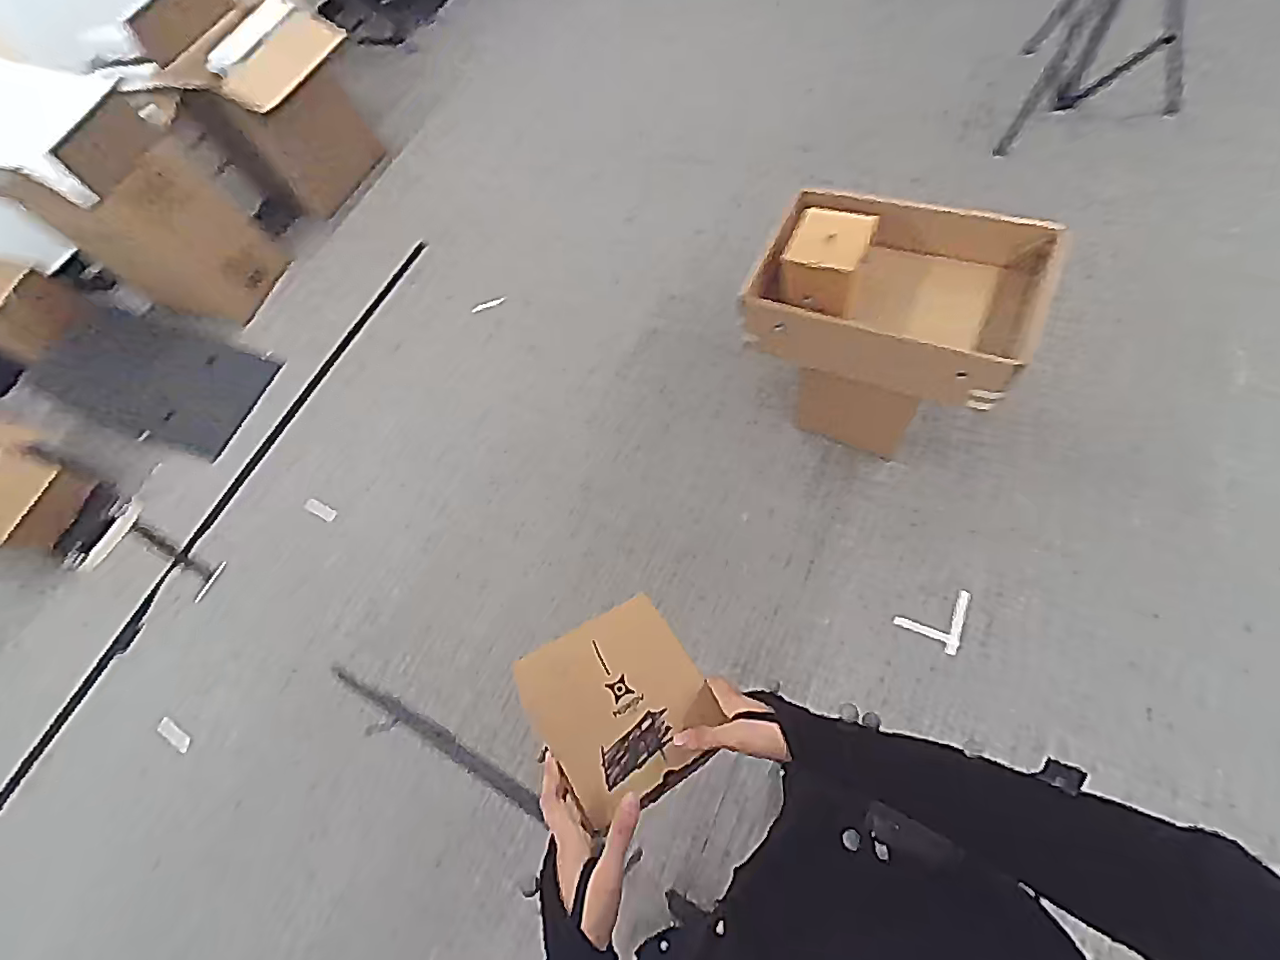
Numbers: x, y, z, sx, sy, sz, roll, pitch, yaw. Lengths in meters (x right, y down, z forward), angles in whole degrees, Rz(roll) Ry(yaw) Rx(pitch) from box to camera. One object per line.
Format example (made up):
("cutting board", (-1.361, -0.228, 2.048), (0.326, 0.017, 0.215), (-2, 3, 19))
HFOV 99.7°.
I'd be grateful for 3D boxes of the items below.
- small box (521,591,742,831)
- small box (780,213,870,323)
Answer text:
("small box", (-0.017, 0.262, 0.605), (0.168, 0.176, 0.179), (-23, 58, -23))
("small box", (0.451, -0.523, 1.341), (0.168, 0.176, 0.179), (19, 71, 21))
